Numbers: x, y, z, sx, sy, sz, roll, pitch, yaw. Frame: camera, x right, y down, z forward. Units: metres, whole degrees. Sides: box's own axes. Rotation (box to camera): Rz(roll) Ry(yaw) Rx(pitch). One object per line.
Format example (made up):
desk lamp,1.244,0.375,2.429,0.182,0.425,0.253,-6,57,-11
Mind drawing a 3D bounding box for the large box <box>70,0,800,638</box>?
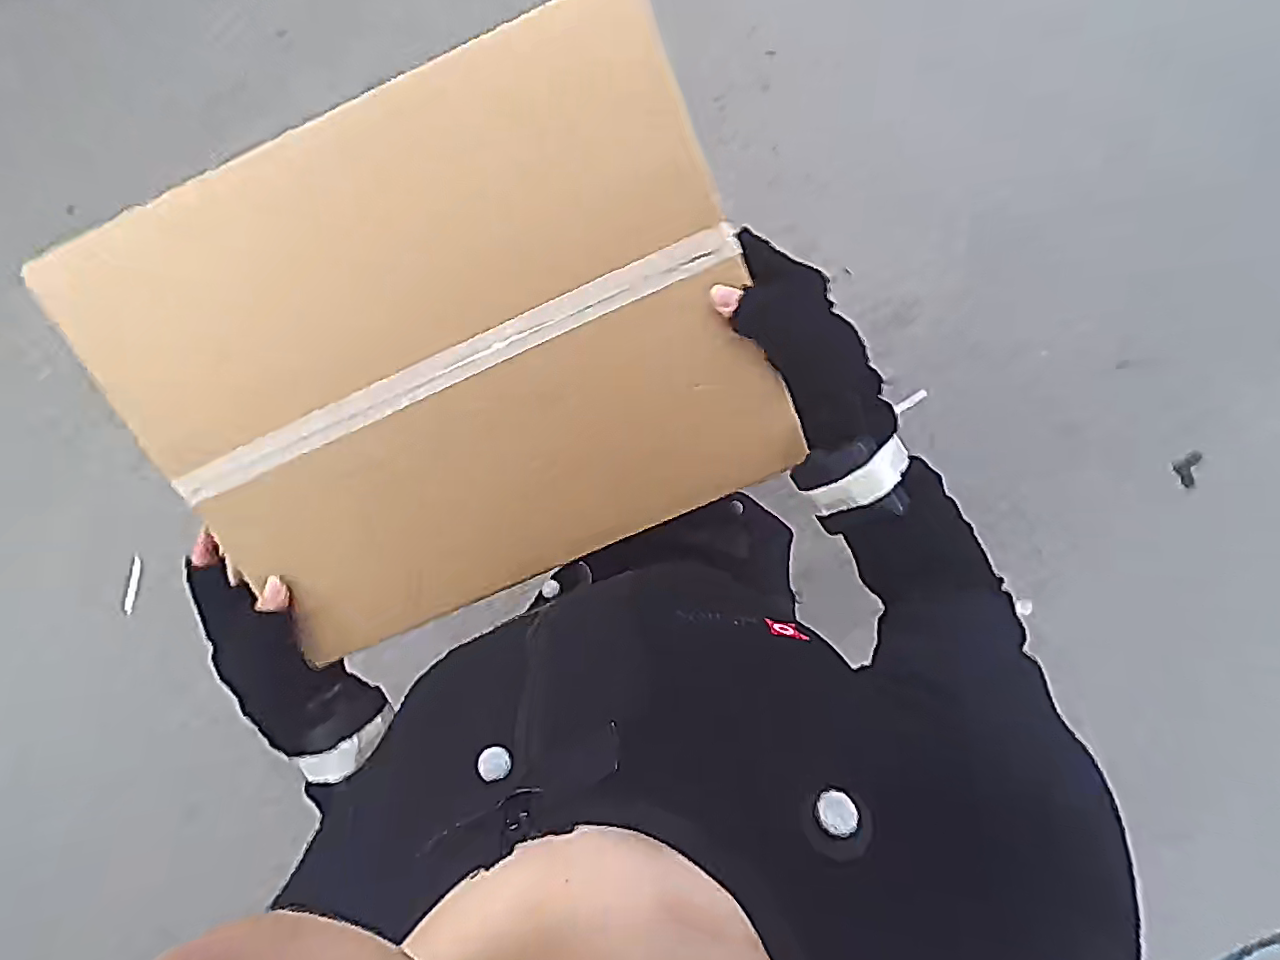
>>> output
large box,-0.129,-0.126,0.507,0.408,0.320,0.320,-23,107,4
